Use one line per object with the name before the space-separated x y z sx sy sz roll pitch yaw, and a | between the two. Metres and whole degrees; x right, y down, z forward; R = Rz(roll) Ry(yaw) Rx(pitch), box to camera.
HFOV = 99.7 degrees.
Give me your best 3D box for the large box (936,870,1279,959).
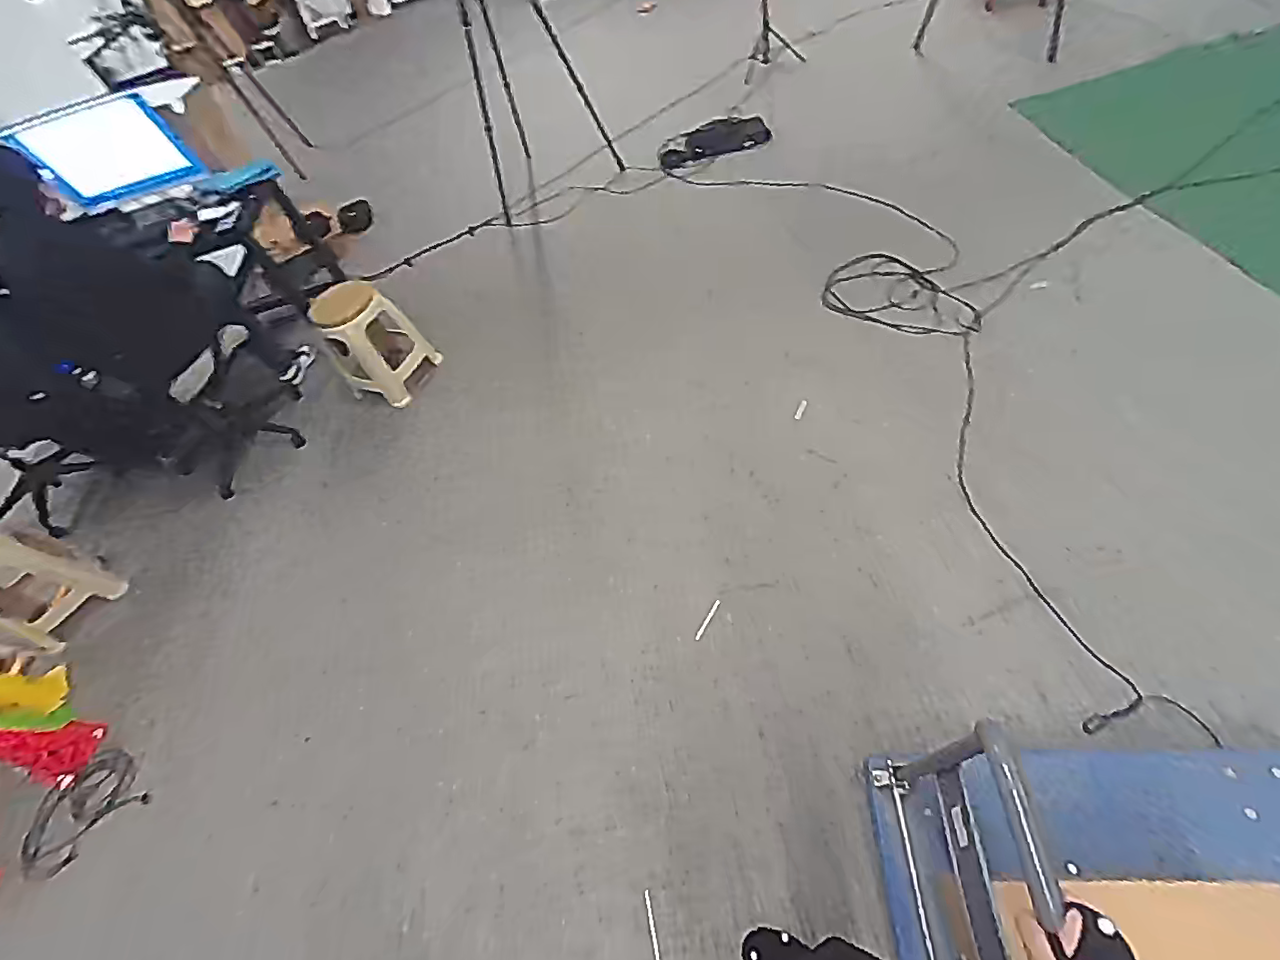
large box | 0.760 0.811 0.854 0.408 0.320 0.320 -7 55 9
